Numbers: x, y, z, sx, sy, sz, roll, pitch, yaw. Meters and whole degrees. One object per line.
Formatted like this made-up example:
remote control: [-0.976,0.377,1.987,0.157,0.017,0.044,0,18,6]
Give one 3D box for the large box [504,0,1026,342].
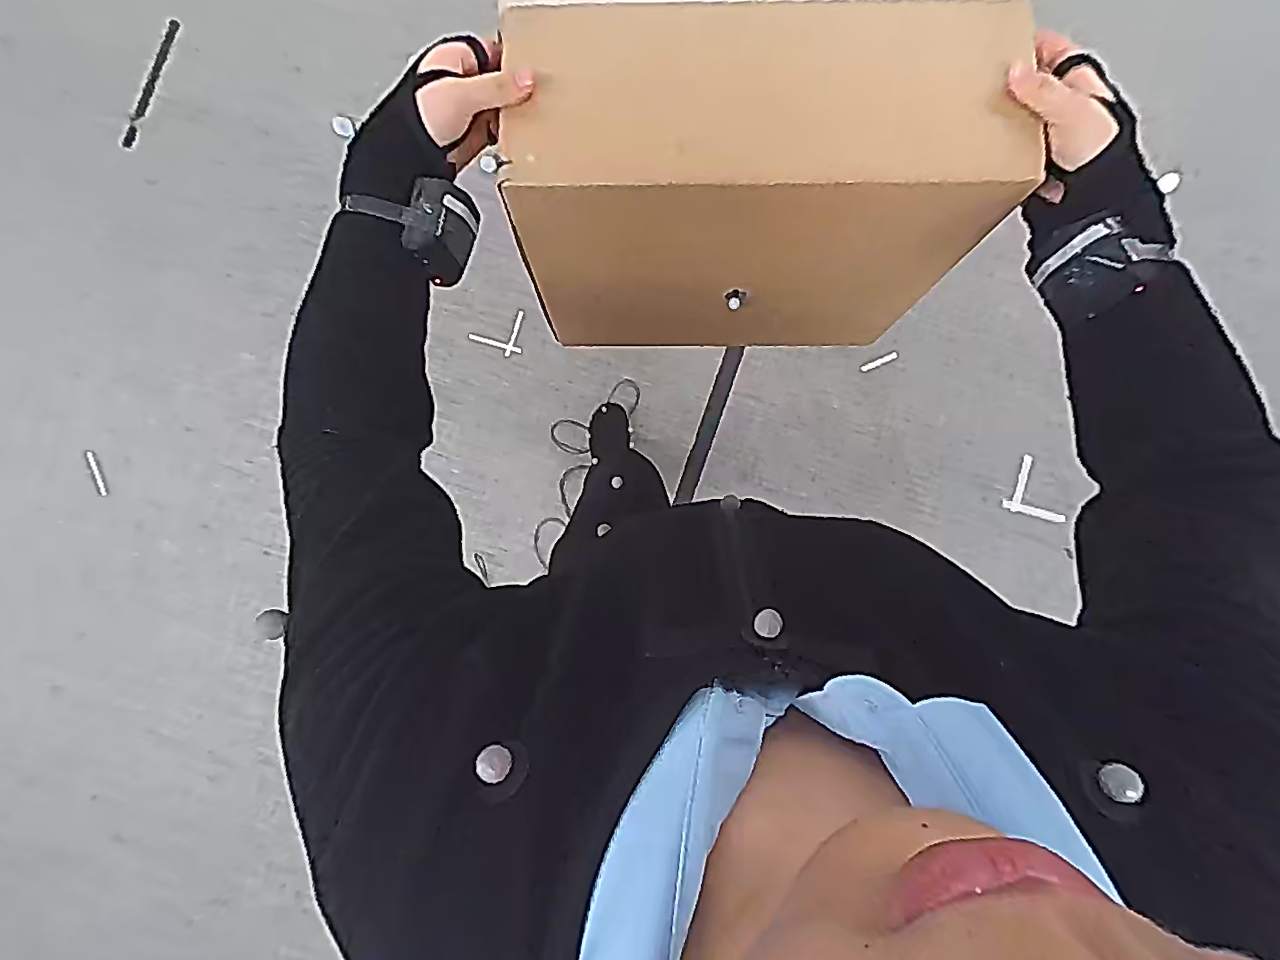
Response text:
large box: [0.096,-0.354,0.579,0.408,0.320,0.320,-1,81,2]
